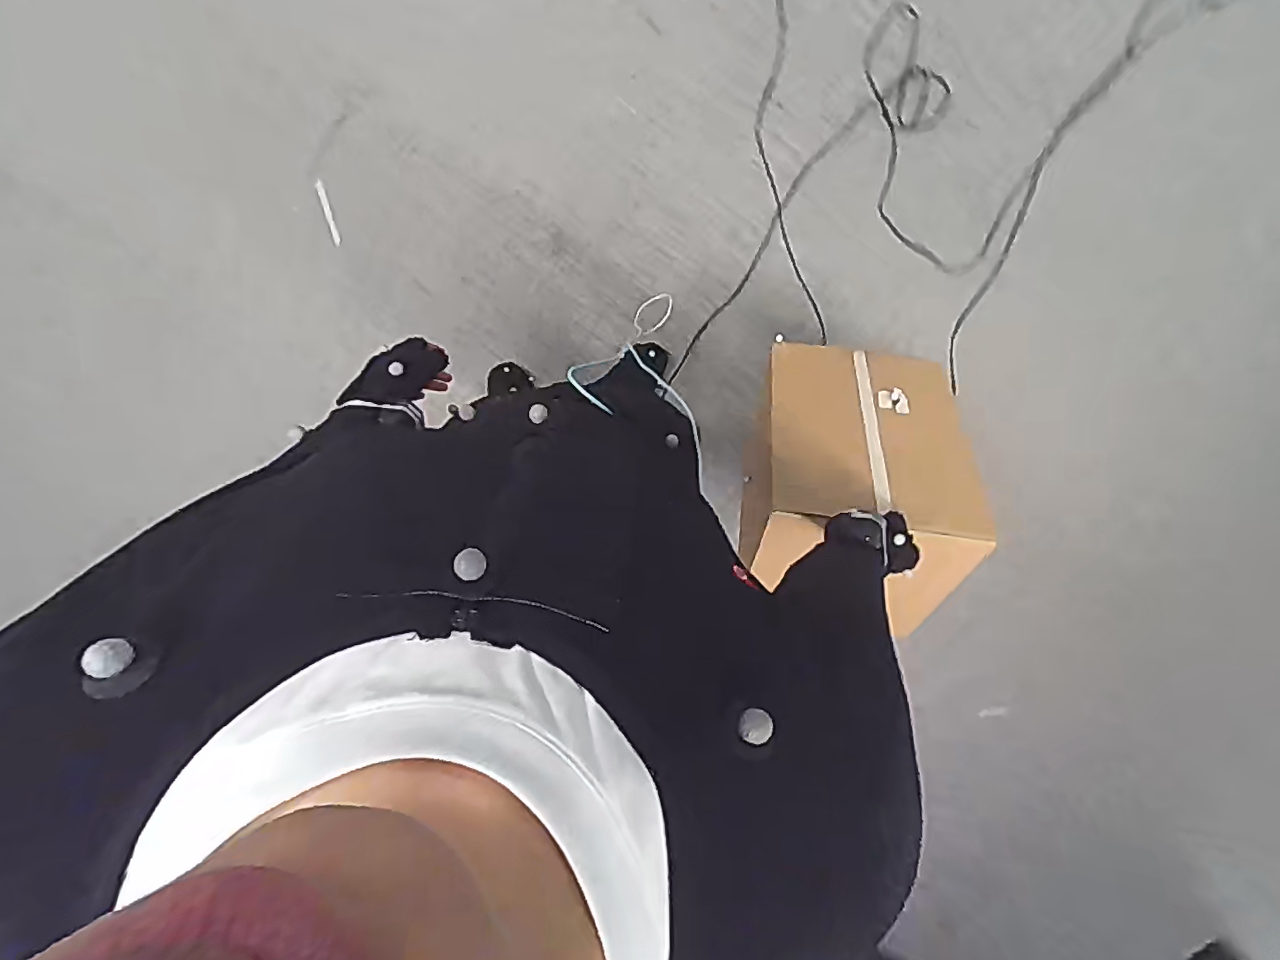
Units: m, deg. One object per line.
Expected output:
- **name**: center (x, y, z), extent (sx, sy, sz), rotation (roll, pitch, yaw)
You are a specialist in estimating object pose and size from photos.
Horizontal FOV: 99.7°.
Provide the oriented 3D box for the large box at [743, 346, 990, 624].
- **large box**: center (0.368, 0.007, 1.006), extent (0.320, 0.408, 0.320), rotation (8, 140, 4)
